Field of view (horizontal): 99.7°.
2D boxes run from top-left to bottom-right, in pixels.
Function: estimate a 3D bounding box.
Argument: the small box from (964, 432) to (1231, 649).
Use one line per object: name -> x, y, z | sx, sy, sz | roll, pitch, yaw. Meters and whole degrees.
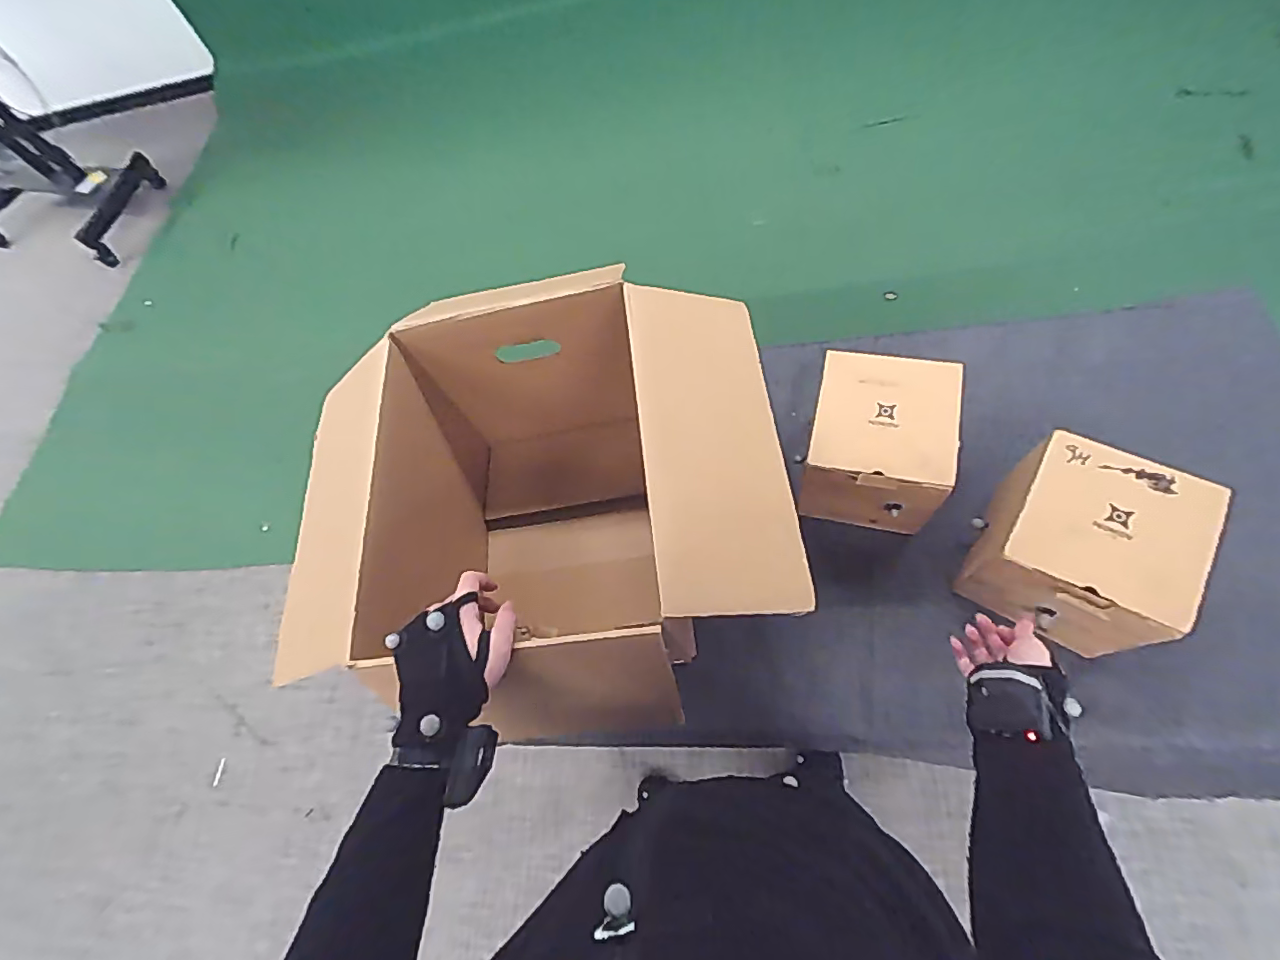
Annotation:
small box -> 0.518, 0.080, 0.642 | 0.168, 0.176, 0.179 | 28, 75, 22
